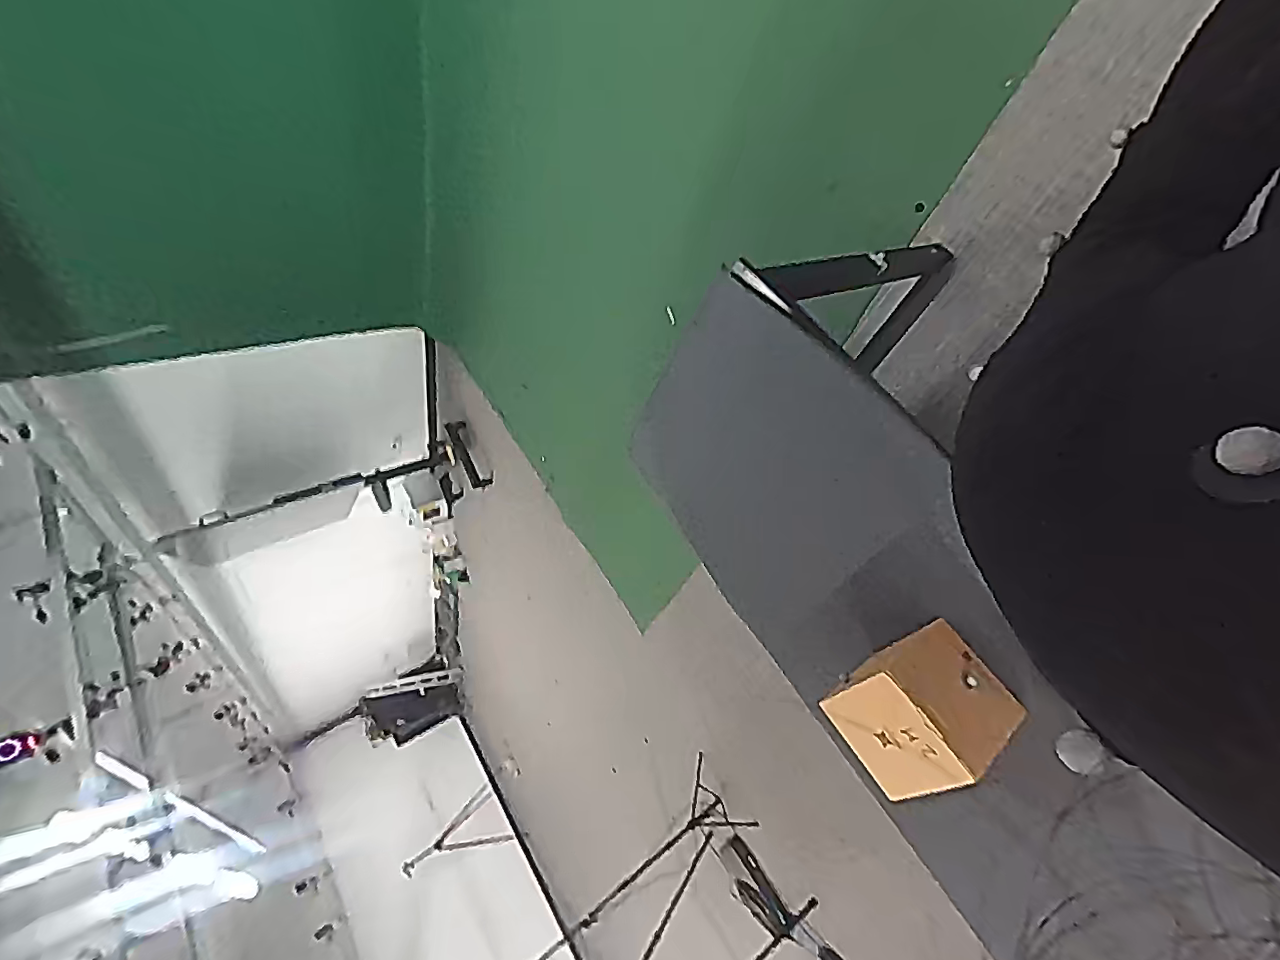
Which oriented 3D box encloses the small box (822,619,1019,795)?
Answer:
[{"bbox_3d":[0.426,0.344,0.829,0.168,0.176,0.179,54,144,22],"label":"small box"}]
